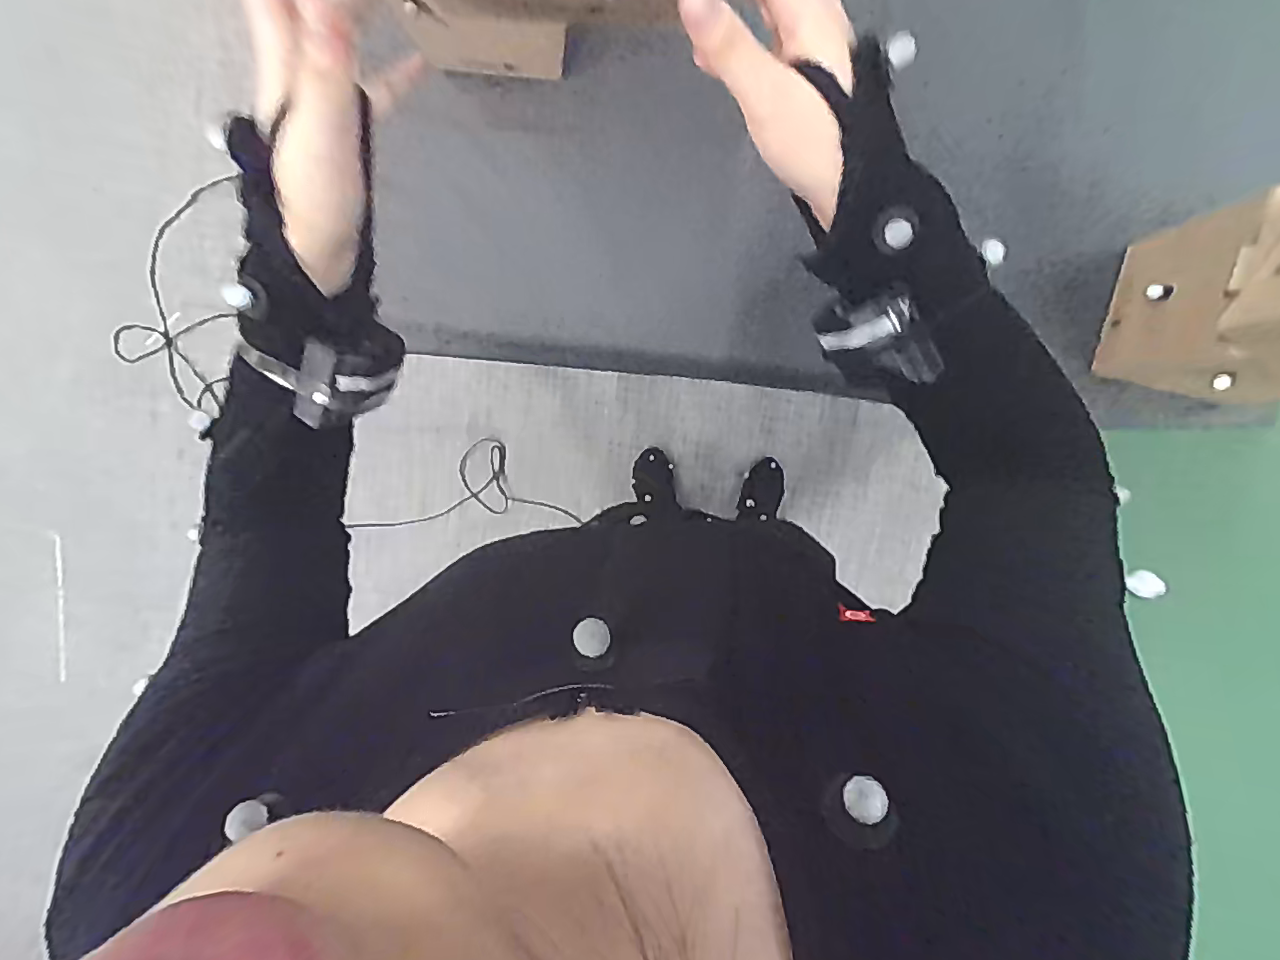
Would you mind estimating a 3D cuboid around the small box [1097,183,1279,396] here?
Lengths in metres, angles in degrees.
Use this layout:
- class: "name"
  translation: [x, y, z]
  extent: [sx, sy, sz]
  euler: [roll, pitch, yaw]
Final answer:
- class: "small box"
  translation: [0.669, -0.193, 0.598]
  extent: [0.179, 0.176, 0.168]
  euler: [13, 95, 2]

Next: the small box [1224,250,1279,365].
- class: "small box"
  translation: [0.663, -0.162, 0.437]
  extent: [0.179, 0.176, 0.168]
  euler: [34, 95, -1]
